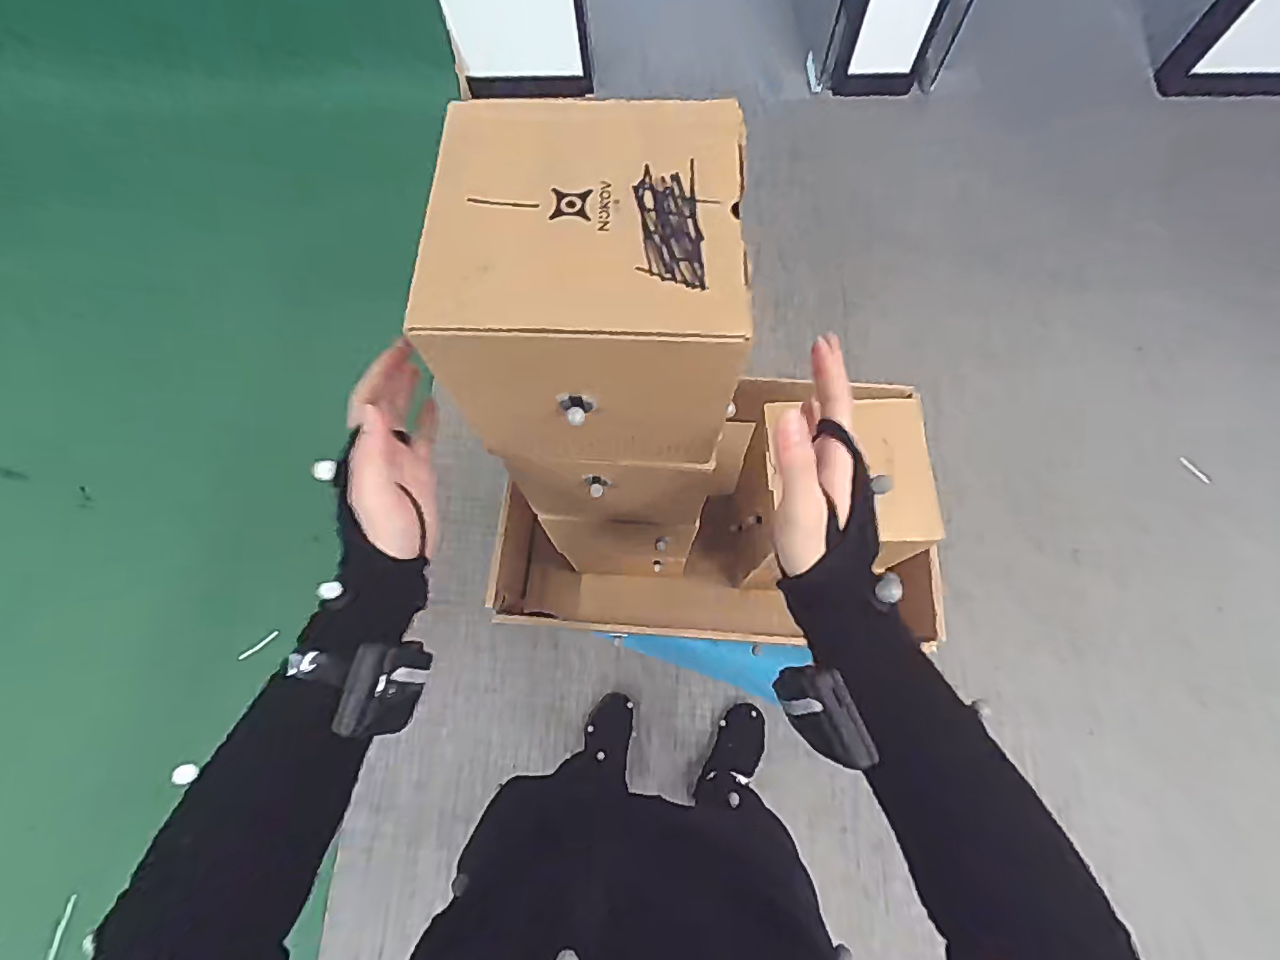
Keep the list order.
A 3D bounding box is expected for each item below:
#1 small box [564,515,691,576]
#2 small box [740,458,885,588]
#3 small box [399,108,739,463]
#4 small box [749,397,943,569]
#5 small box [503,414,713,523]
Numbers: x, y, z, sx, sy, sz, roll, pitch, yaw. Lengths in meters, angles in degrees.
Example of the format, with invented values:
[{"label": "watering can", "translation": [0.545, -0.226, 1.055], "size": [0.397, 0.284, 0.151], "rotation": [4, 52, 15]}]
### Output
[{"label": "small box", "translation": [-0.012, 0.052, 0.838], "size": [0.179, 0.176, 0.168], "rotation": [3, 70, 2]}, {"label": "small box", "translation": [0.243, 0.069, 0.814], "size": [0.179, 0.176, 0.168], "rotation": [-2, 71, 5]}, {"label": "small box", "translation": [-0.033, -0.117, 0.375], "size": [0.179, 0.176, 0.168], "rotation": [1, 70, 2]}, {"label": "small box", "translation": [0.230, 0.013, 0.660], "size": [0.179, 0.176, 0.168], "rotation": [-2, 71, 3]}, {"label": "small box", "translation": [-0.022, -0.060, 0.529], "size": [0.179, 0.176, 0.168], "rotation": [4, 71, 2]}]
